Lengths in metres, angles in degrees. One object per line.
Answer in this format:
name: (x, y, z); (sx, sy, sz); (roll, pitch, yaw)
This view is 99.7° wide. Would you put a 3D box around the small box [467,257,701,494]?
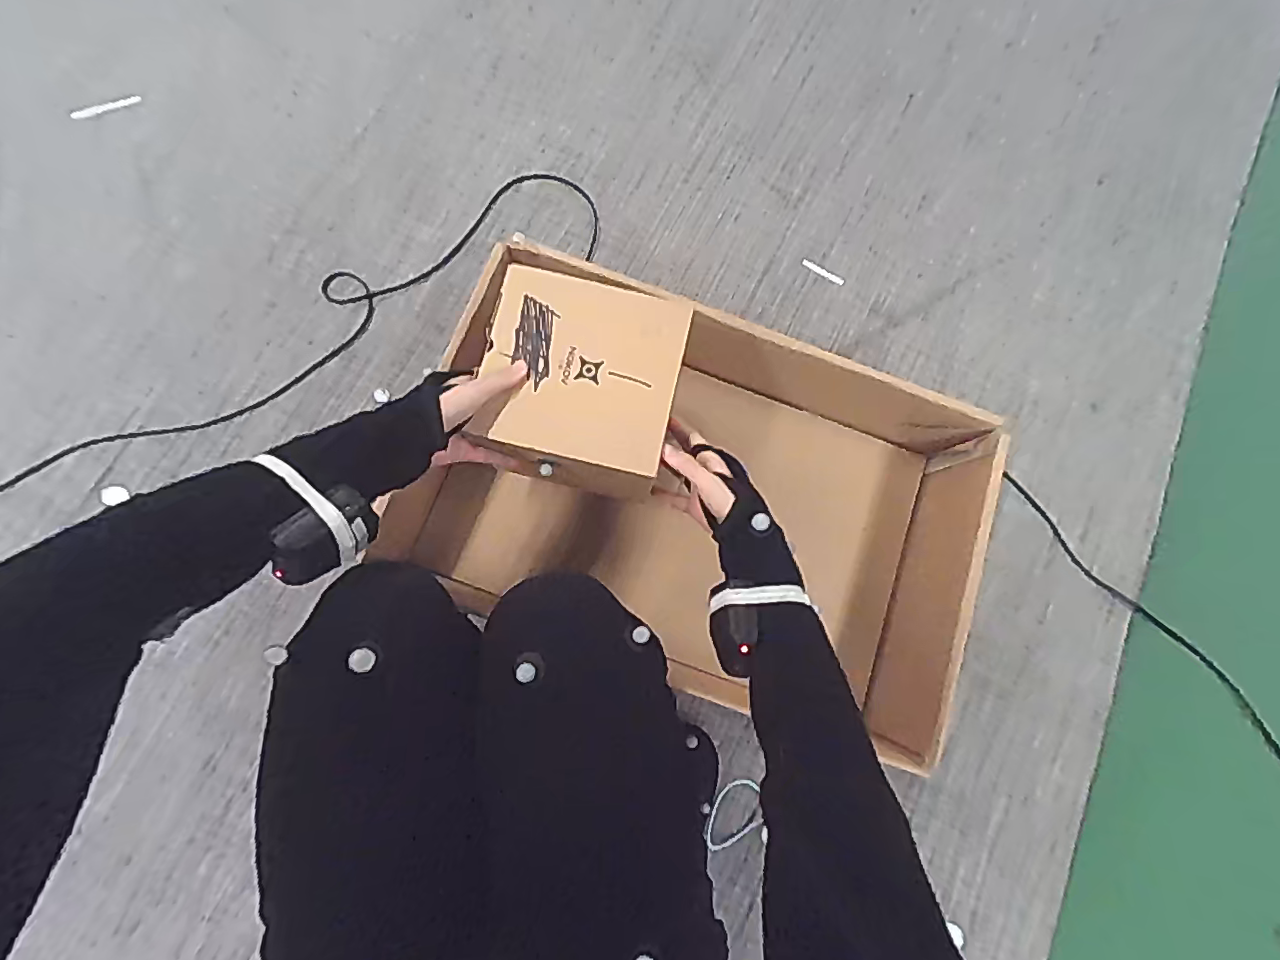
small box: (-0.052, -0.091, 0.556); (0.179, 0.176, 0.168); (14, 79, -2)
